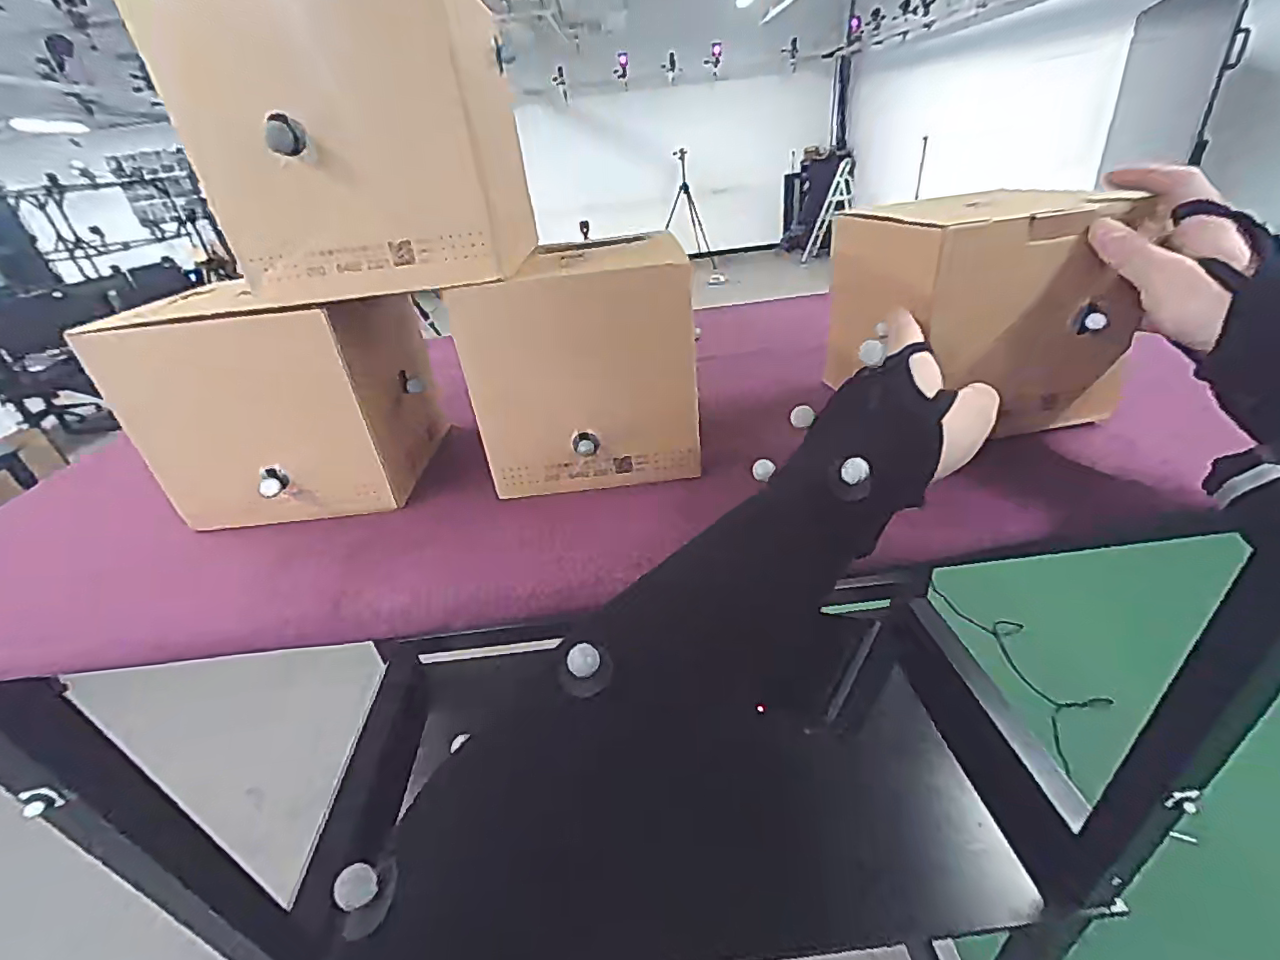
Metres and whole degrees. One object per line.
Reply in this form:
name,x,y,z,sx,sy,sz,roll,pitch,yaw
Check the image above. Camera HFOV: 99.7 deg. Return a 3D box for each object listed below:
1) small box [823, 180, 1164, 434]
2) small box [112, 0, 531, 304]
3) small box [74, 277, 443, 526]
small box,0.268,-0.147,0.464,0.168,0.176,0.179,-9,30,0
small box,-0.183,-0.230,0.385,0.168,0.176,0.179,-7,31,2
small box,-0.294,-0.078,0.473,0.179,0.176,0.168,-6,31,0
